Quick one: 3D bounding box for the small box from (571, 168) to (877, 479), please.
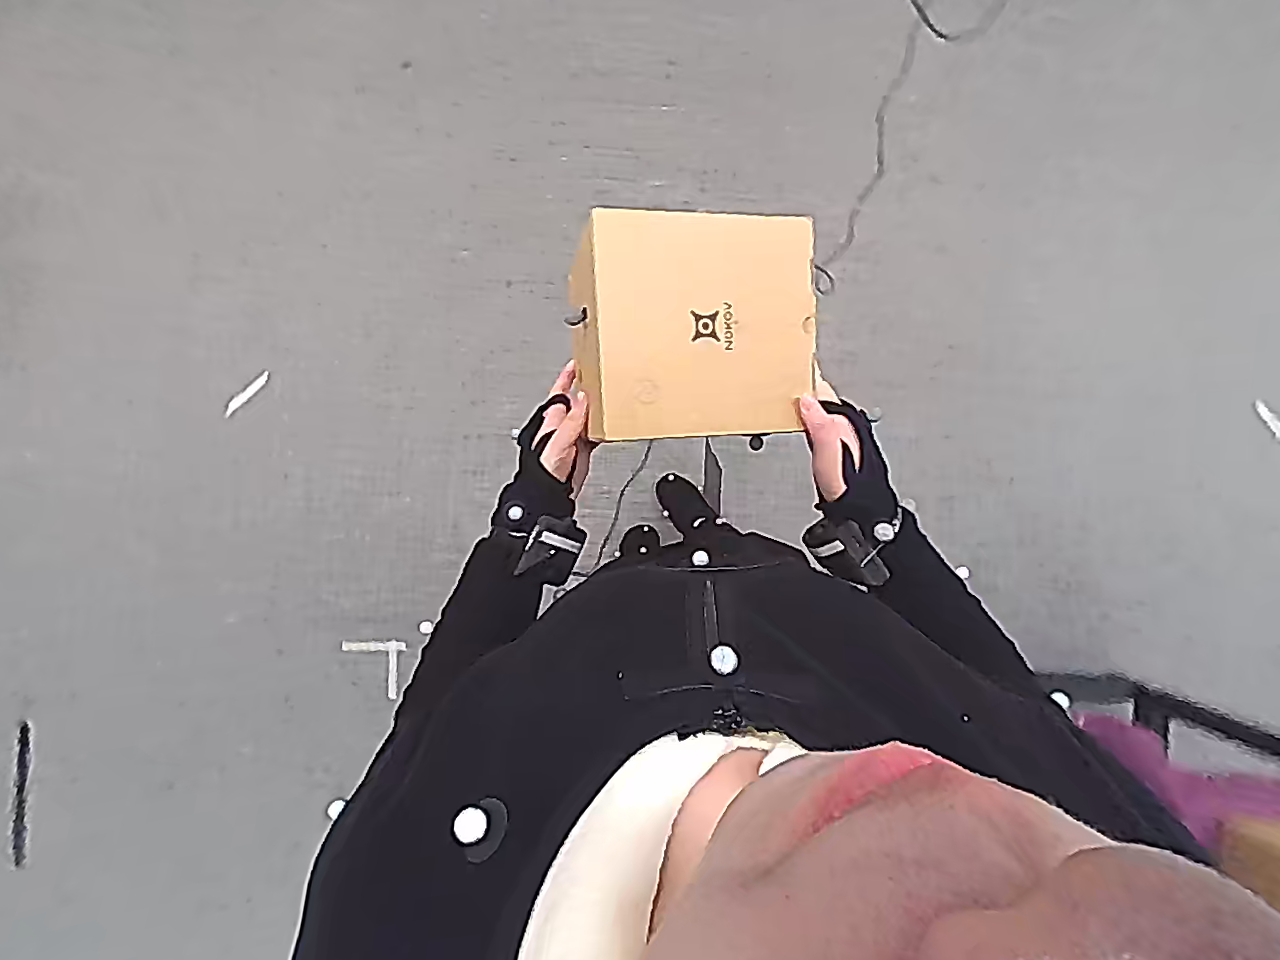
[{"bbox_3d":[0.063,-0.112,0.447,0.168,0.176,0.179,-7,79,-32],"label":"small box"}]
